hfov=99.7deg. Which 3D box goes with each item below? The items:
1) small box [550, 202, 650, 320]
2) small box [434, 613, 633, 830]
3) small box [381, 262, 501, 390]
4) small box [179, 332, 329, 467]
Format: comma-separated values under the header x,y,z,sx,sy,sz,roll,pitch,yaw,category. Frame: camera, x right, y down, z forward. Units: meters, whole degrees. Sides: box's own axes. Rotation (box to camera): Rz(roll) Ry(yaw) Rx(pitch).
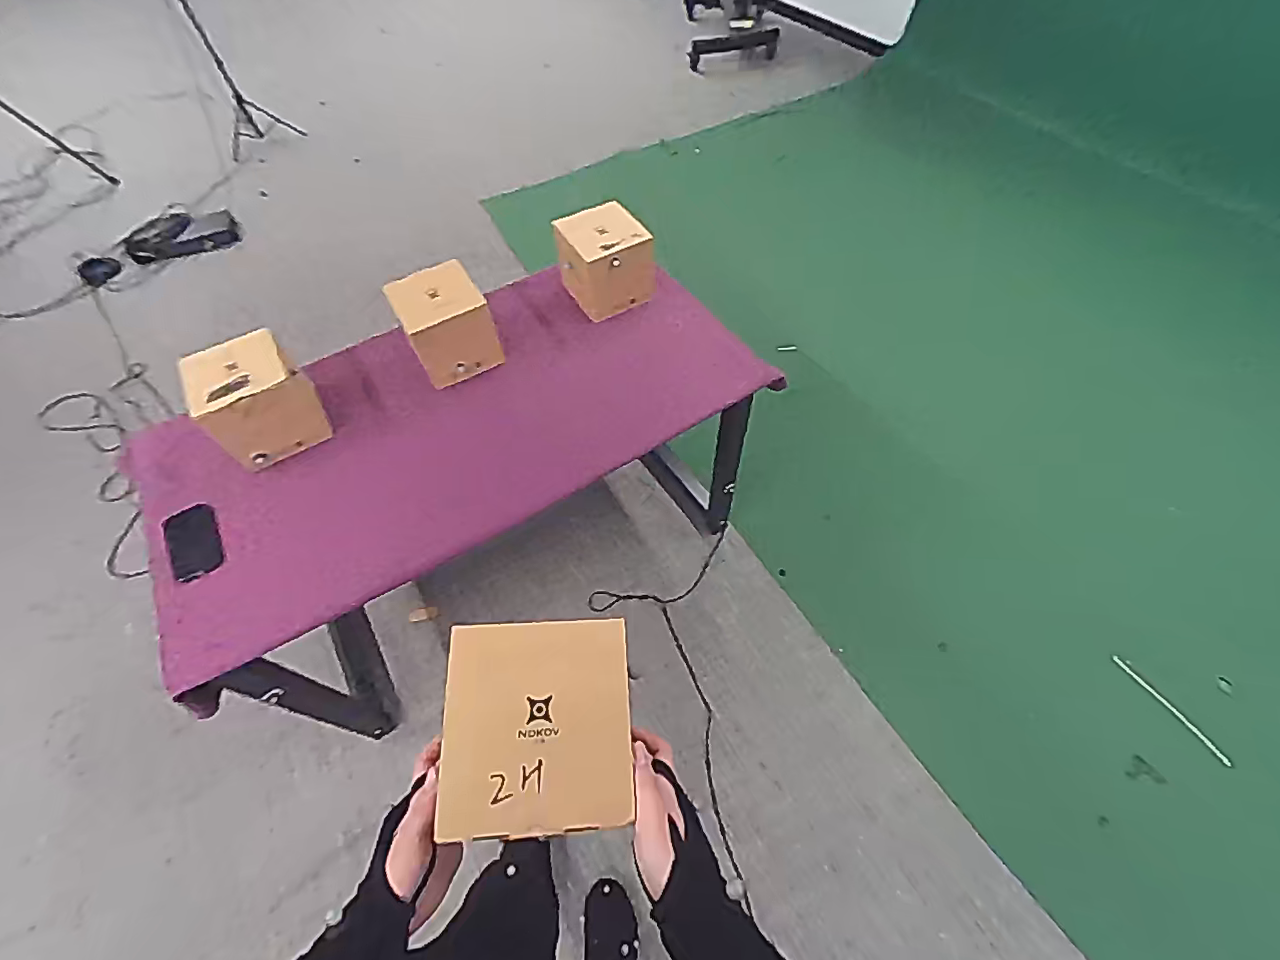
x,y,z,sx,sy,sz,roll,pitch,yaw,category
-0.090,-0.508,1.262,0.168,0.176,0.179,-28,60,-14,small box
-0.096,0.244,0.553,0.168,0.176,0.179,-1,63,-5,small box
-0.422,-0.328,1.164,0.168,0.176,0.179,-29,61,-14,small box
-0.746,-0.149,1.060,0.168,0.176,0.179,-30,60,-15,small box
